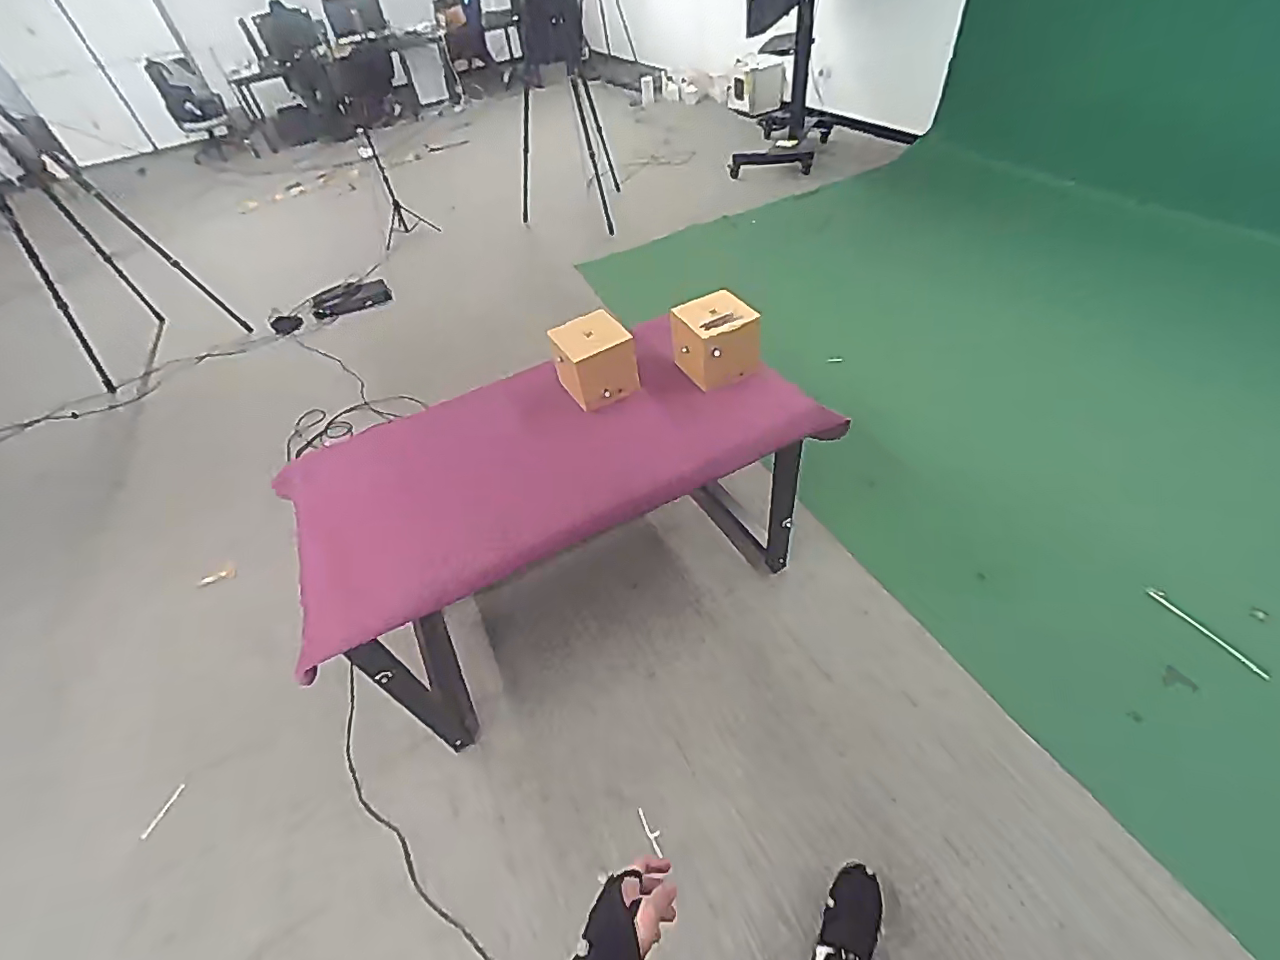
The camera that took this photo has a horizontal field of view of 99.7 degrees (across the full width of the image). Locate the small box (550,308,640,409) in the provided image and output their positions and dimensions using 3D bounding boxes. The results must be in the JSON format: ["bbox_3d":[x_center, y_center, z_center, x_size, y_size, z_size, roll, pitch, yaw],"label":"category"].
[{"bbox_3d":[-0.115,-0.317,1.416,0.168,0.176,0.179,-26,50,-14],"label":"small box"}]
